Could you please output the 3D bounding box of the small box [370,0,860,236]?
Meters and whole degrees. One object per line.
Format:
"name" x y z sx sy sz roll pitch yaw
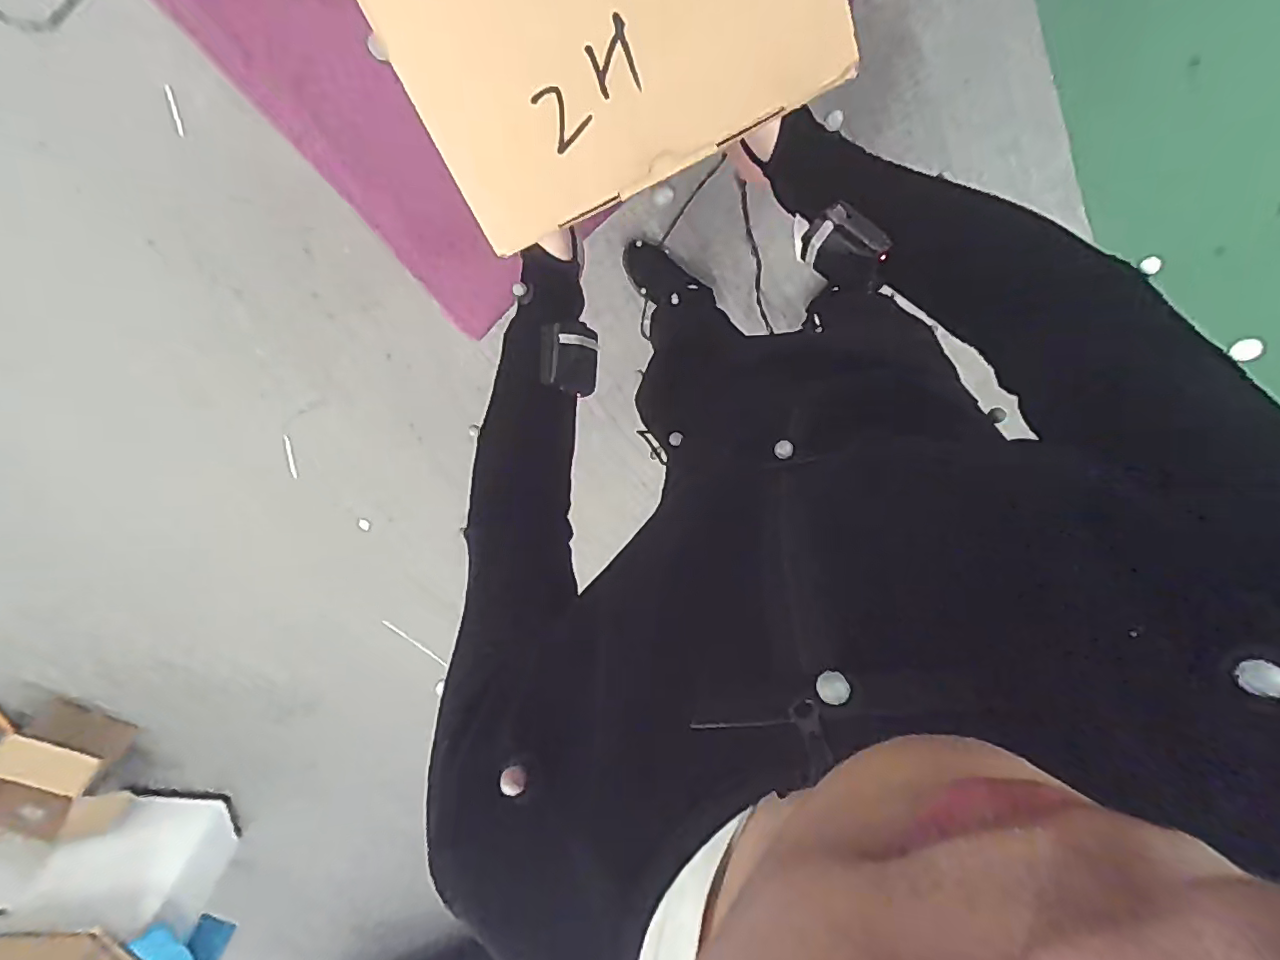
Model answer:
"small box" -0.023 -0.240 0.255 0.168 0.176 0.179 -21 117 12
